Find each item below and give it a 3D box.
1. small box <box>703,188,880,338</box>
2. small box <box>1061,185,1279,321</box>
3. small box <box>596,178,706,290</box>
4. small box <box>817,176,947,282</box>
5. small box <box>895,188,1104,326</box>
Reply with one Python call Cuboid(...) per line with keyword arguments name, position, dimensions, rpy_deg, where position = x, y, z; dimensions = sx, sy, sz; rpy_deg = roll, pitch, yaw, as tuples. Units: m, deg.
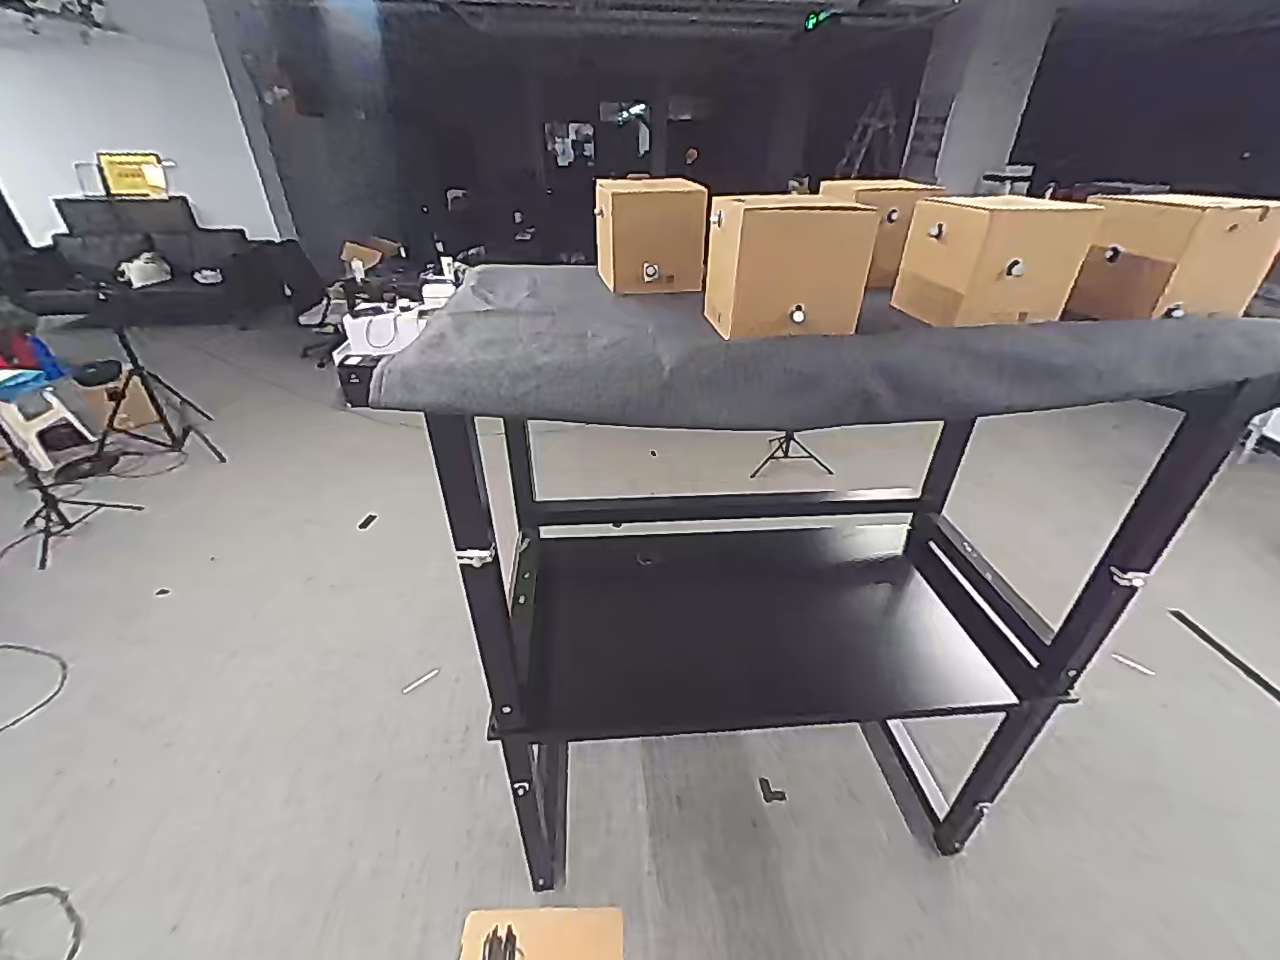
Cuboid(name="small box", position=(0.193, -0.300, 0.748), dimensions=(0.179, 0.176, 0.168), rpy_deg=(-2, 31, -6))
Cuboid(name="small box", position=(0.786, -0.342, 0.816), dimensions=(0.168, 0.176, 0.179), rpy_deg=(-6, 31, -9))
Cuboid(name="small box", position=(0.013, -0.449, 0.984), dimensions=(0.168, 0.176, 0.179), rpy_deg=(-7, 33, -10))
Cuboid(name="small box", position=(0.442, -0.481, 1.038), dimensions=(0.179, 0.176, 0.168), rpy_deg=(-3, 33, -4))
Cuboid(name="small box", position=(0.512, -0.331, 0.802), dimensions=(0.168, 0.176, 0.179), rpy_deg=(-4, 32, -6))
